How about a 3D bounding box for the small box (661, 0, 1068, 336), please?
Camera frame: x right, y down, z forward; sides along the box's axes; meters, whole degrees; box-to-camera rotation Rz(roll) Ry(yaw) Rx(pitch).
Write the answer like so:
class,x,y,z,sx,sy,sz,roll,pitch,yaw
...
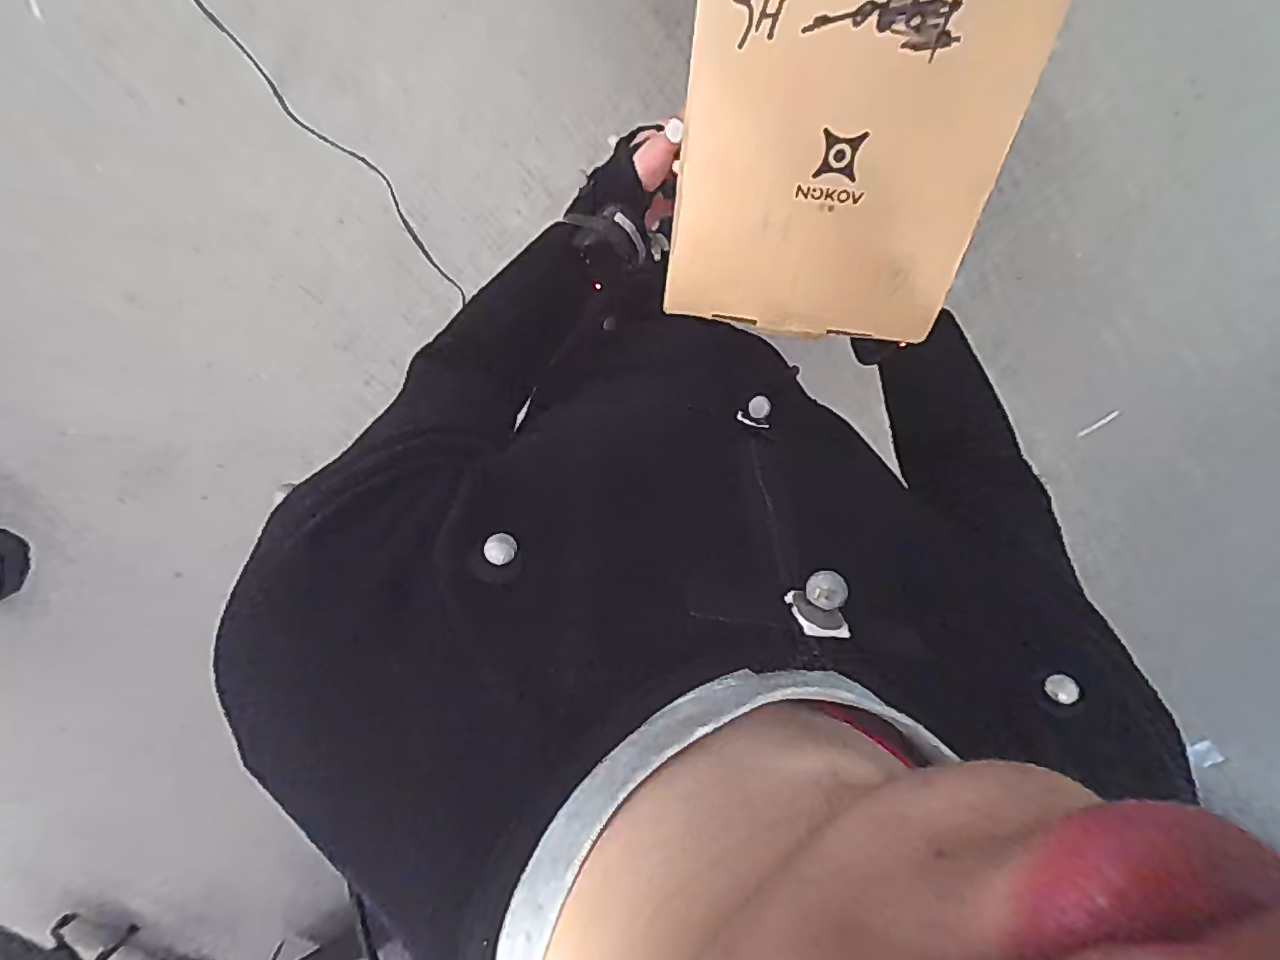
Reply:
class,x,y,z,sx,sy,sz,roll,pitch,yaw
small box,0.110,-0.217,0.347,0.168,0.176,0.179,7,130,3
